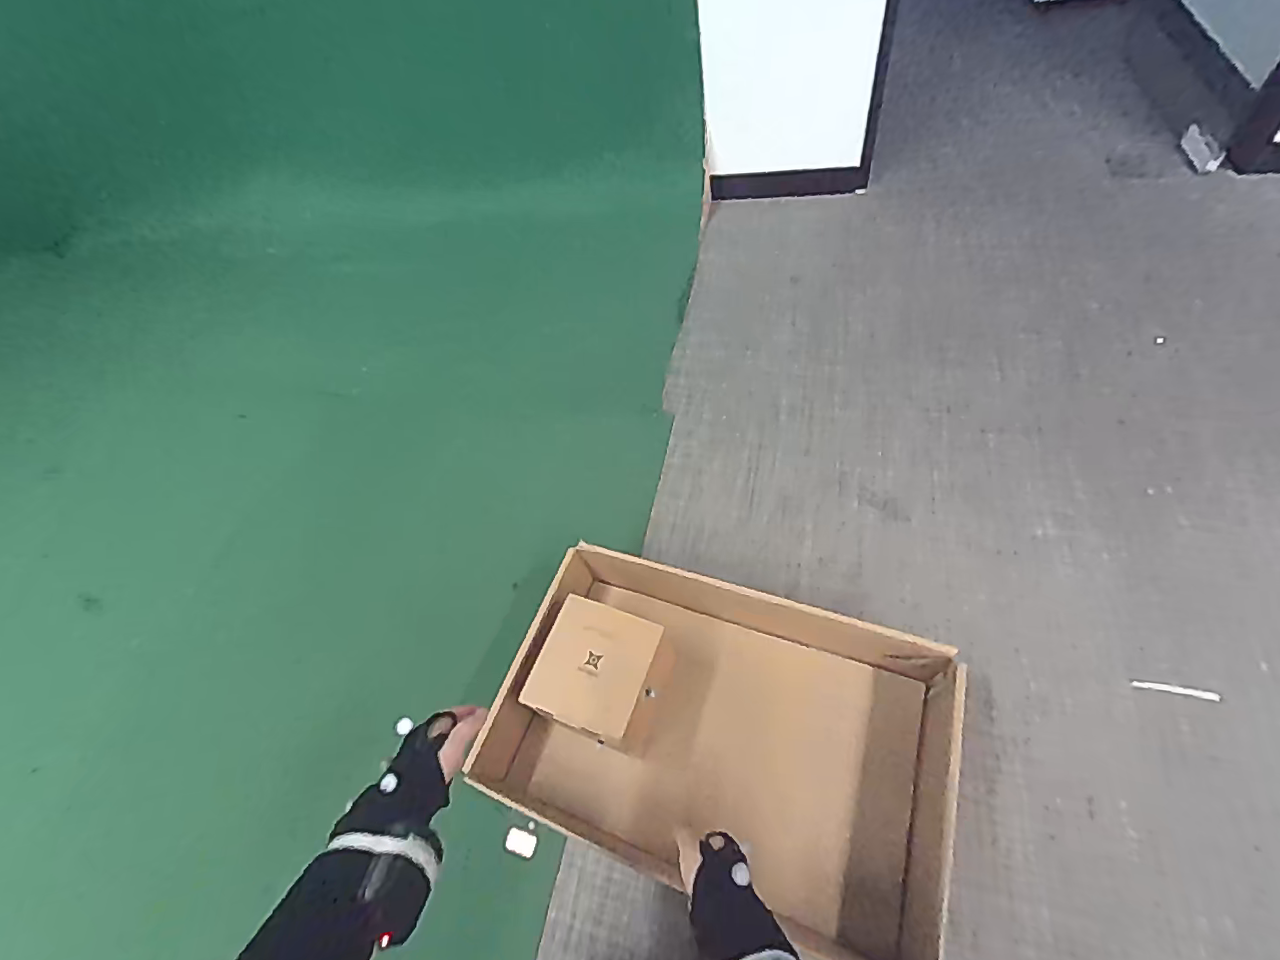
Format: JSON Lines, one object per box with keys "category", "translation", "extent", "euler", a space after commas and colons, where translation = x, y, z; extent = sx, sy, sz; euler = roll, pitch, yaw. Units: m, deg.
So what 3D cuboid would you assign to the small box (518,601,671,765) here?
{"category": "small box", "translation": [-0.057, 0.322, 0.847], "extent": [0.168, 0.176, 0.179], "euler": [16, 60, 19]}
